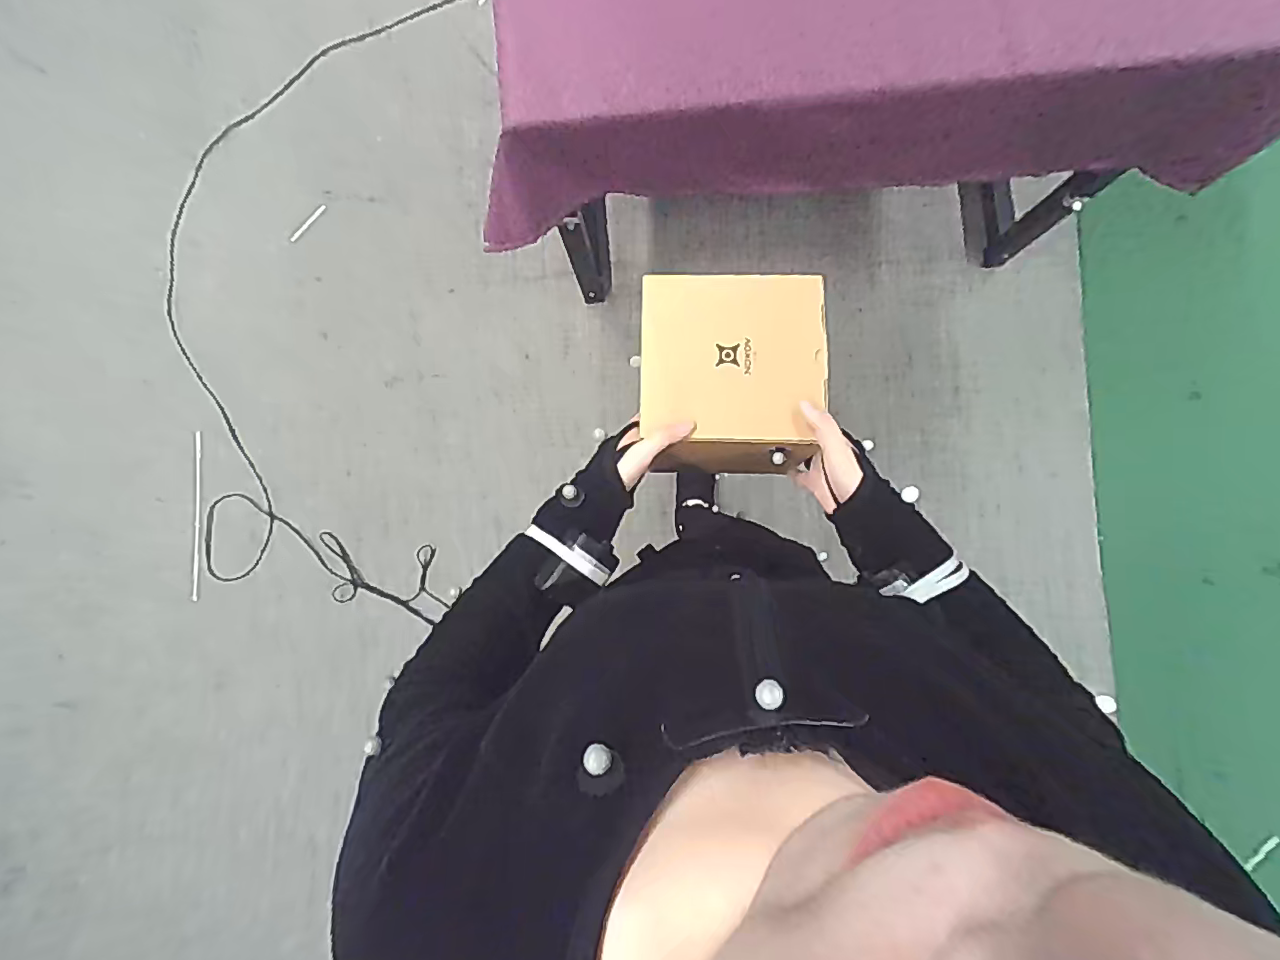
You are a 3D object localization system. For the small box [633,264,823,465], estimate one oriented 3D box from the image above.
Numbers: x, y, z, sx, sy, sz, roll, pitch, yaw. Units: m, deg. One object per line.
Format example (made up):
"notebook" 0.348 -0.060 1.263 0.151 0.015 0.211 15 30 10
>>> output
"small box" 0.087 -0.113 0.588 0.179 0.176 0.168 1 80 3
